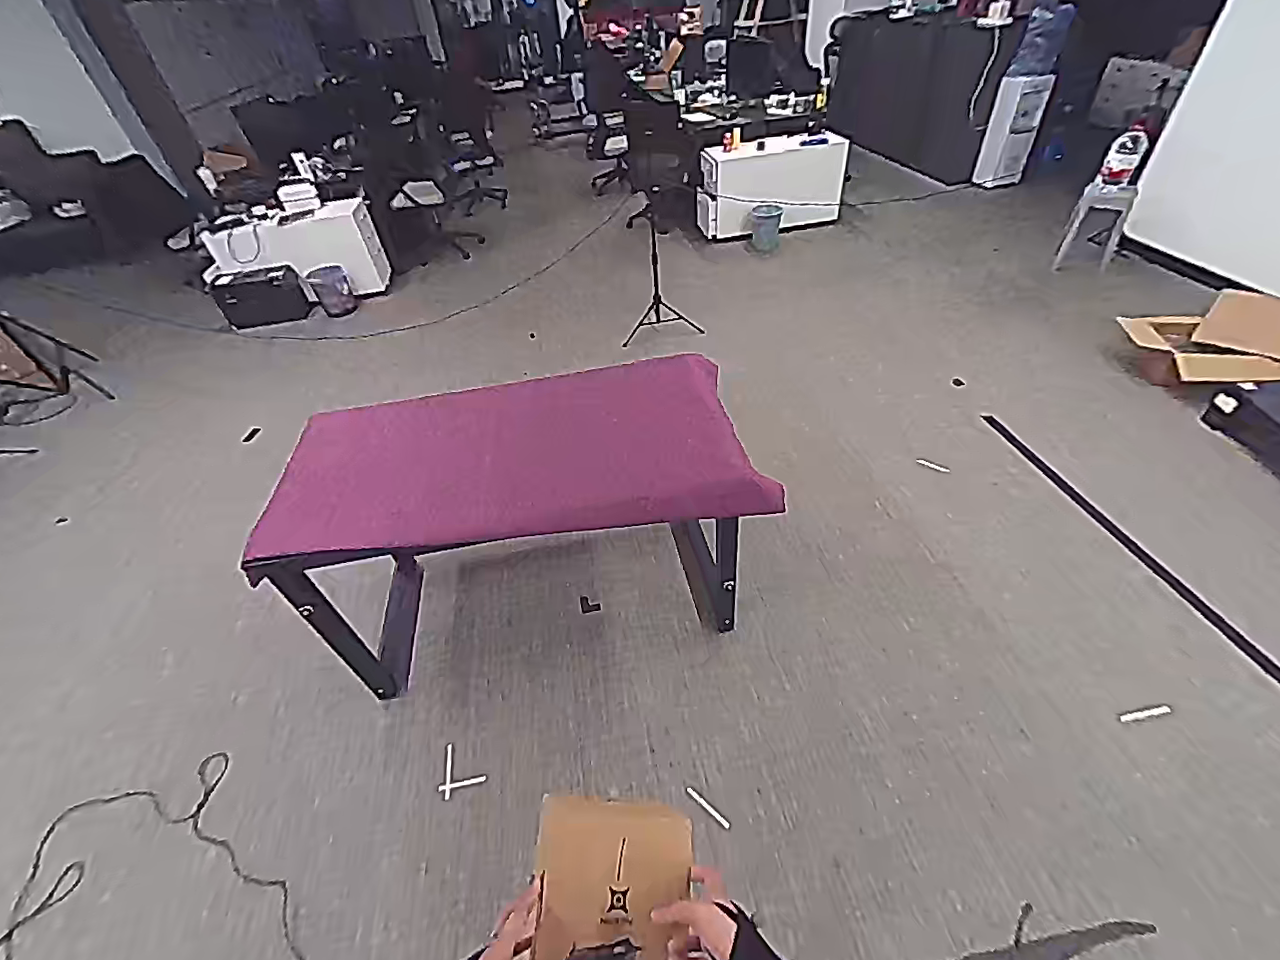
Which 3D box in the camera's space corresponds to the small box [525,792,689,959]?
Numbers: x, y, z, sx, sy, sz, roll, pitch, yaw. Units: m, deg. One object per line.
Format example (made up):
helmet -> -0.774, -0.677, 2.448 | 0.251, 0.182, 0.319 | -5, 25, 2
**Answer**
small box -> -0.045, 0.493, 0.657 | 0.168, 0.176, 0.179 | 9, 64, -10
